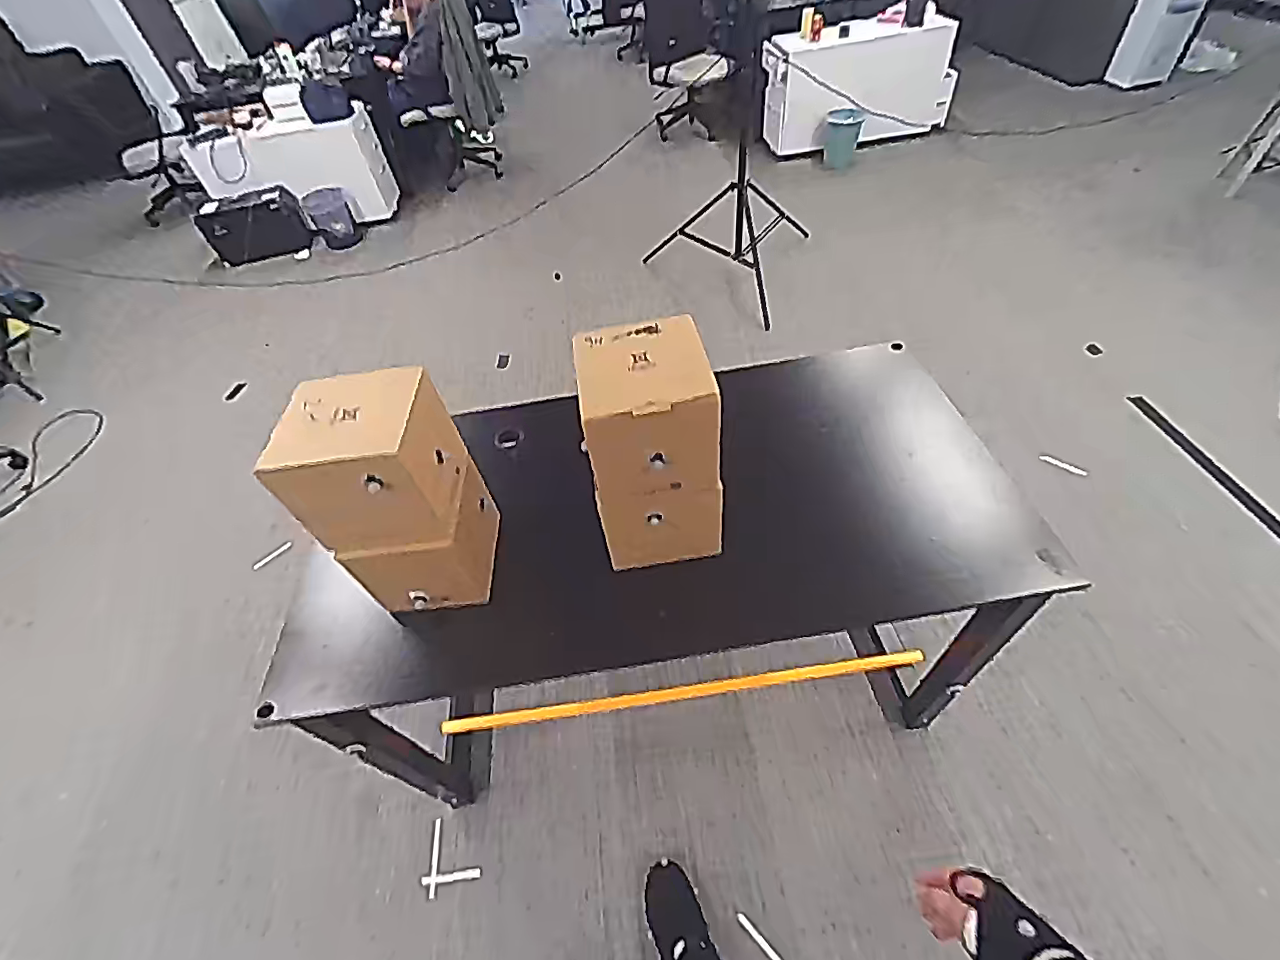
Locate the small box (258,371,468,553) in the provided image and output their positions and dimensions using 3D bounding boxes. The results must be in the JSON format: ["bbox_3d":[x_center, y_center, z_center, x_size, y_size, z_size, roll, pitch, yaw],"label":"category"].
[{"bbox_3d":[-0.350,-0.020,0.728,0.179,0.176,0.168,-8,48,3],"label":"small box"}]

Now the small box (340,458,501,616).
[{"bbox_3d":[-0.326,0.091,0.848,0.168,0.176,0.179,-8,50,3],"label":"small box"}]

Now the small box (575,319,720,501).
[{"bbox_3d":[0.013,-0.086,0.734,0.168,0.176,0.179,-10,50,0],"label":"small box"}]

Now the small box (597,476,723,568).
[{"bbox_3d":[0.030,0.023,0.854,0.179,0.176,0.168,-9,49,-1],"label":"small box"}]
